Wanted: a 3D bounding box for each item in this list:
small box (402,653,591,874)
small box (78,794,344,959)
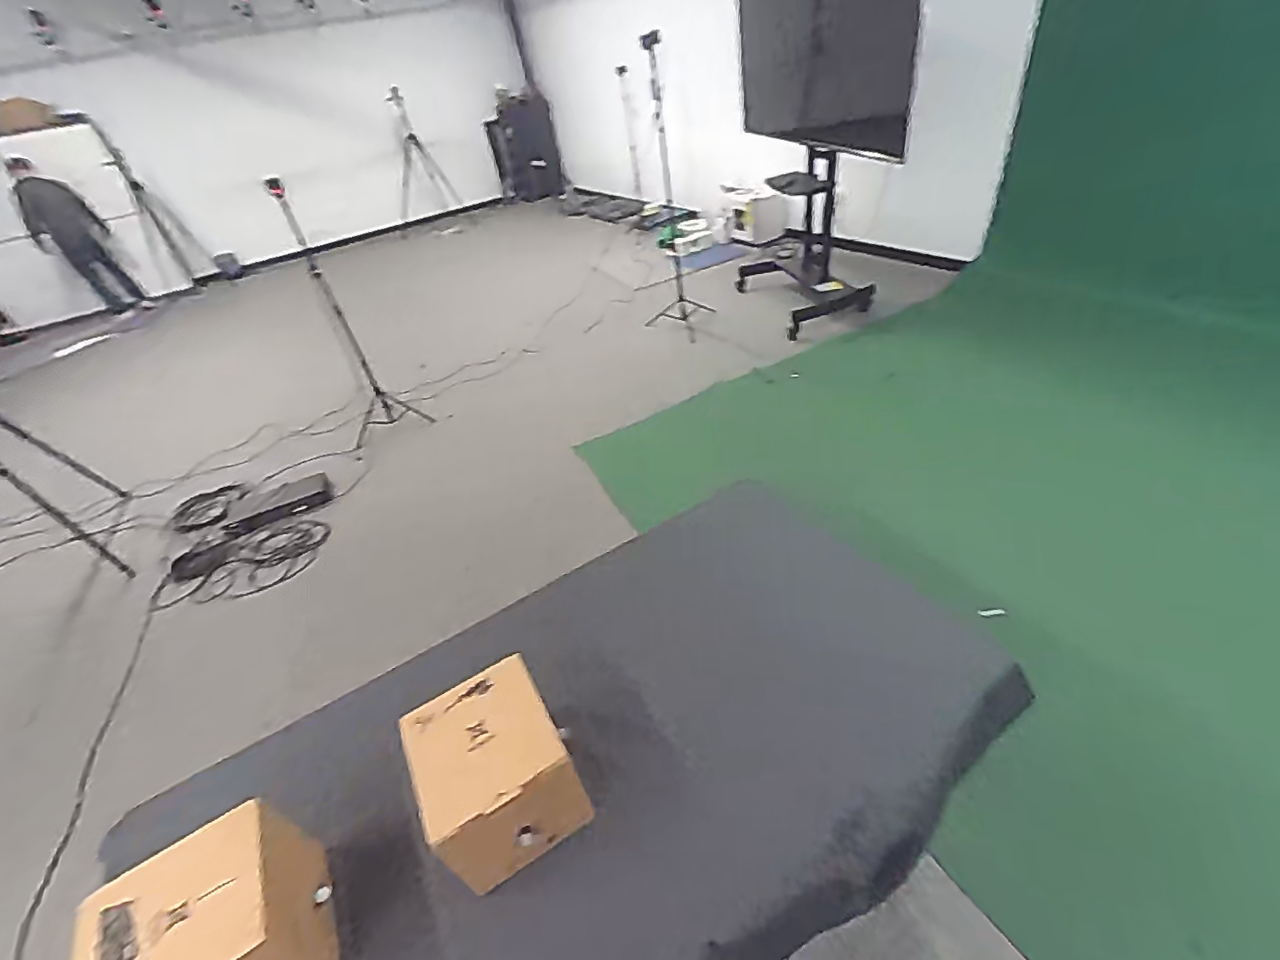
[{"bbox_3d":[-0.182,0.372,0.707,0.168,0.176,0.179,-26,41,-19],"label":"small box"},{"bbox_3d":[-0.465,0.507,0.602,0.179,0.176,0.168,-27,41,-22],"label":"small box"}]
